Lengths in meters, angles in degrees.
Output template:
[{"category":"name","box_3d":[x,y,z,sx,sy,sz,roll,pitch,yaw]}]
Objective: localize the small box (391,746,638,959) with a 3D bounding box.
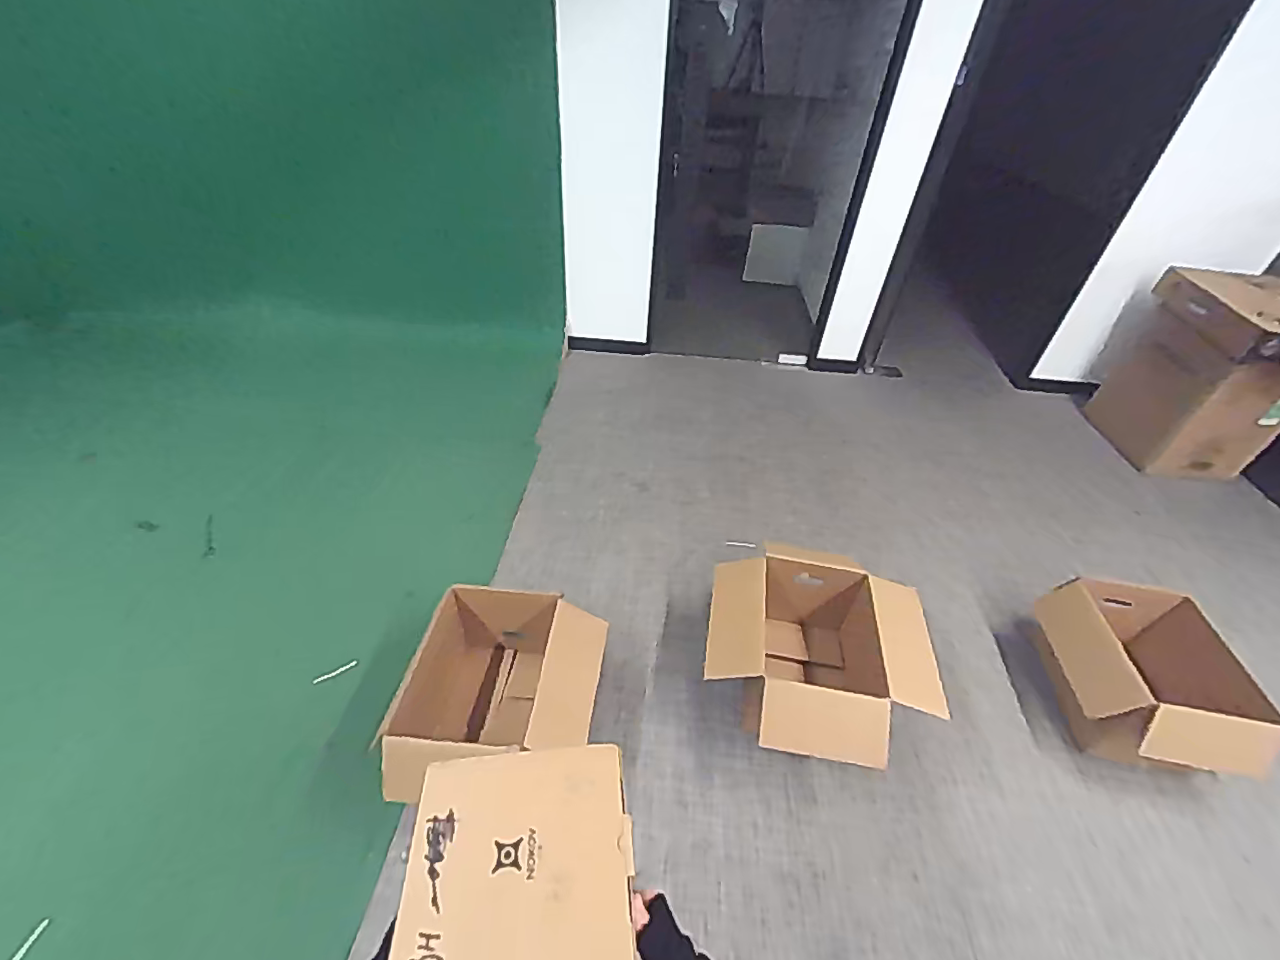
[{"category":"small box","box_3d":[-0.098,0.364,0.484,0.179,0.176,0.168,-2,36,-5]}]
